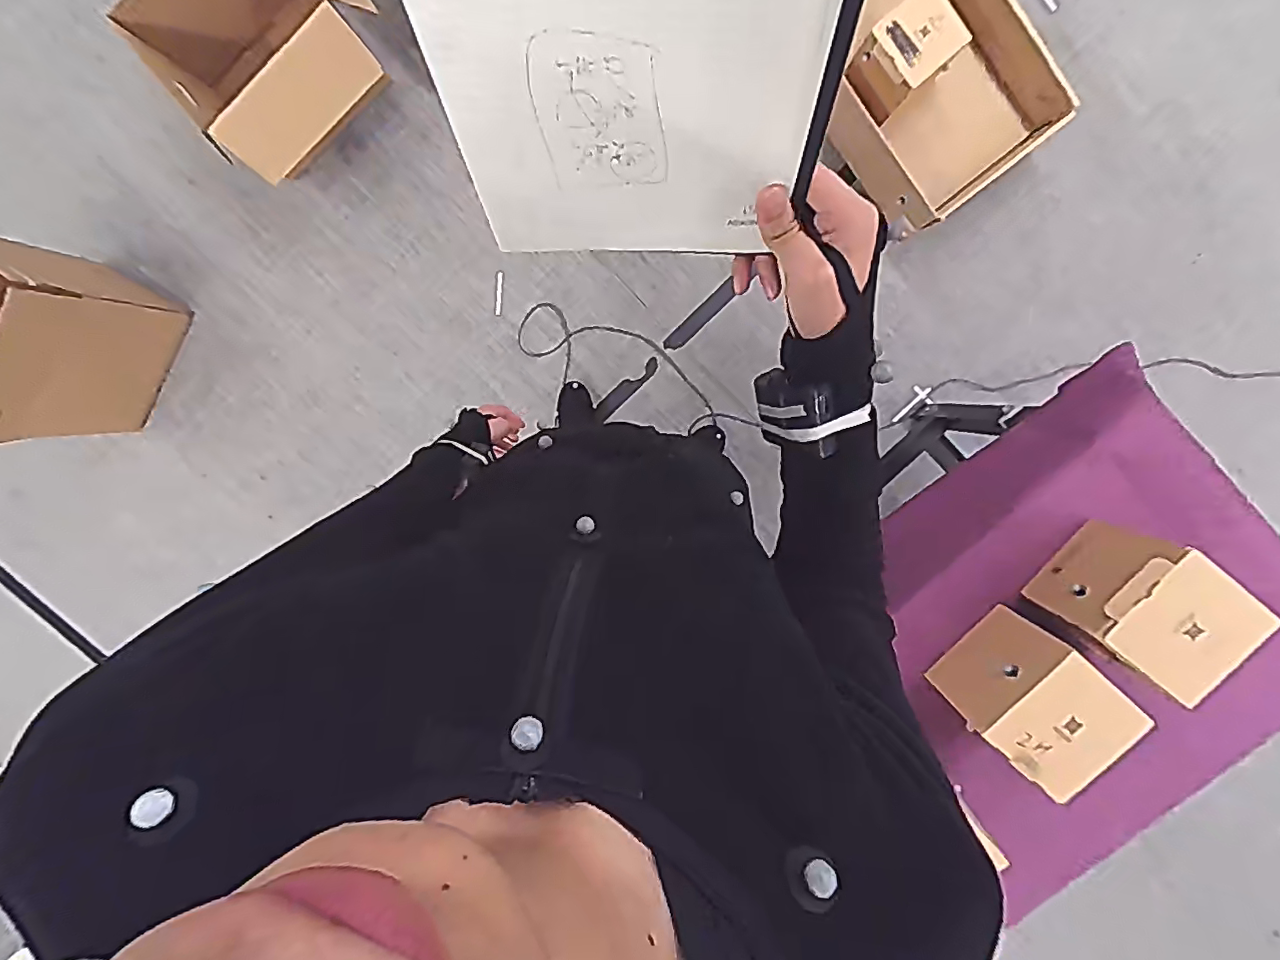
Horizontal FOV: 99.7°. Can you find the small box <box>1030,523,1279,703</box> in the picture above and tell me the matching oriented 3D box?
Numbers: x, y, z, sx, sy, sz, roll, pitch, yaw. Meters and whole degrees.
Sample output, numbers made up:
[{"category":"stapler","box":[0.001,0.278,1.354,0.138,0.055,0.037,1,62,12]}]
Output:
[{"category":"small box","box":[0.743,0.181,0.803,0.179,0.176,0.168,37,100,-5]}]

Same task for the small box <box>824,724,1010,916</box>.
[{"category":"small box","box":[0.428,0.528,0.871,0.168,0.176,0.179,-41,97,8]}]
